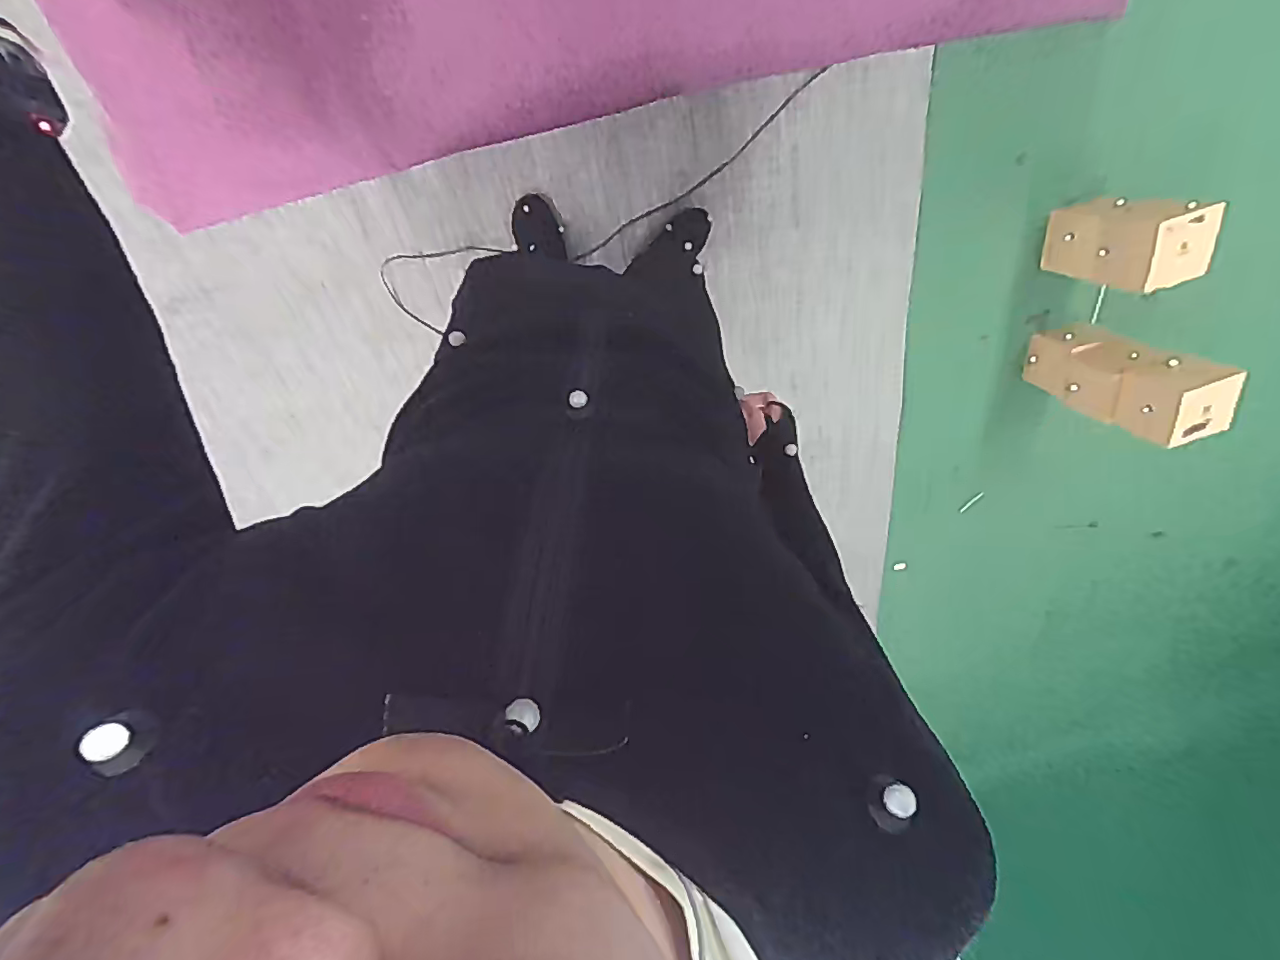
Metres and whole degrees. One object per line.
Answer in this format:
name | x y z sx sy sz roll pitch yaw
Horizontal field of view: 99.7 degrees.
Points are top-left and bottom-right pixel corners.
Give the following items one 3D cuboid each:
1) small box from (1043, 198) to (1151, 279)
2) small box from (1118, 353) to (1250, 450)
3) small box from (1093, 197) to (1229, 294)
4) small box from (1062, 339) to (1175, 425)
small box | 1.287 -0.683 1.519 0.179 0.176 0.168 -15 123 -1
small box | 1.439 -0.212 1.446 0.168 0.176 0.179 -19 122 2
small box | 1.312 -0.601 1.379 0.168 0.176 0.179 -17 123 0
small box | 1.398 -0.292 1.586 0.179 0.176 0.168 -21 122 4
